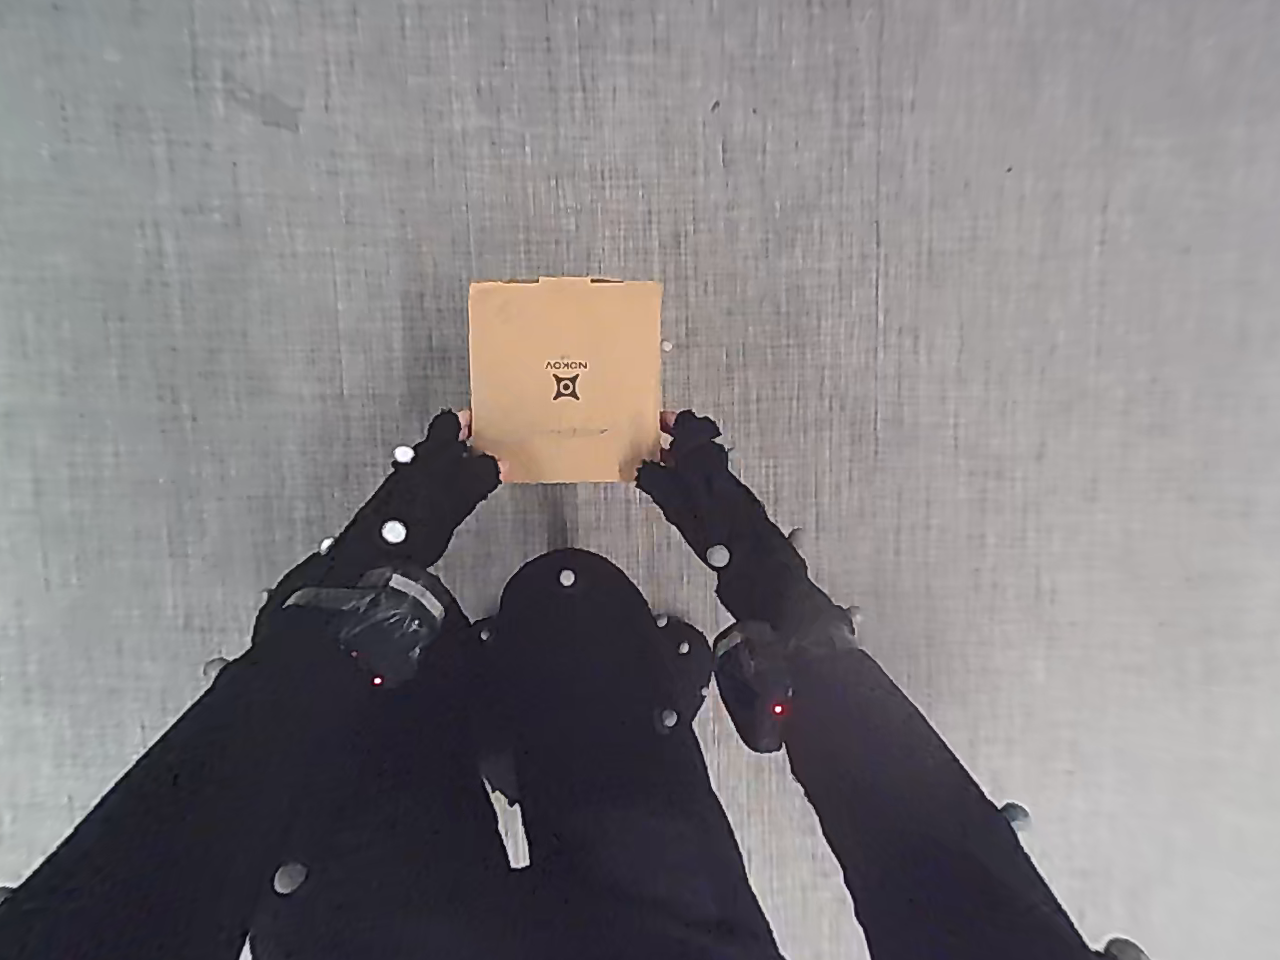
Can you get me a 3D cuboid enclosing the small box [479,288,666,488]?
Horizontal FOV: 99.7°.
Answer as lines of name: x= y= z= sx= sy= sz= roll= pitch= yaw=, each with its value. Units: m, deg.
small box: x=-0.060 y=-0.086 z=0.556 sx=0.168 sy=0.176 sz=0.179 roll=-1 pitch=95 yaw=0
